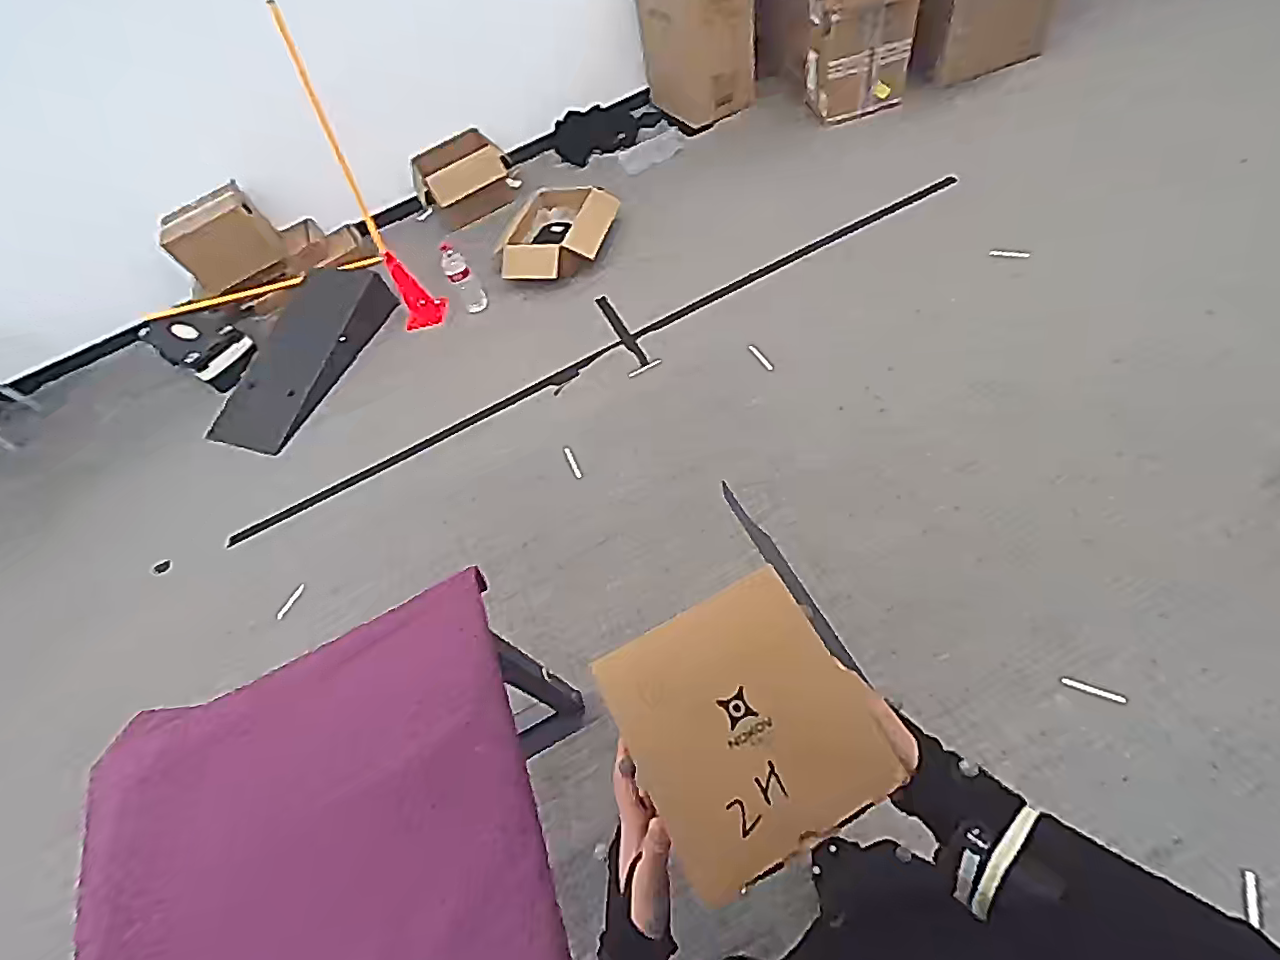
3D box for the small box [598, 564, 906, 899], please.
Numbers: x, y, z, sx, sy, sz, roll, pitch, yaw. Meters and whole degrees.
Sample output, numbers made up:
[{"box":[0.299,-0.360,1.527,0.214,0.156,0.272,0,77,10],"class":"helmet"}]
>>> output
[{"box":[0.079,0.203,0.467,0.168,0.176,0.179,-27,68,-7],"class":"small box"}]
